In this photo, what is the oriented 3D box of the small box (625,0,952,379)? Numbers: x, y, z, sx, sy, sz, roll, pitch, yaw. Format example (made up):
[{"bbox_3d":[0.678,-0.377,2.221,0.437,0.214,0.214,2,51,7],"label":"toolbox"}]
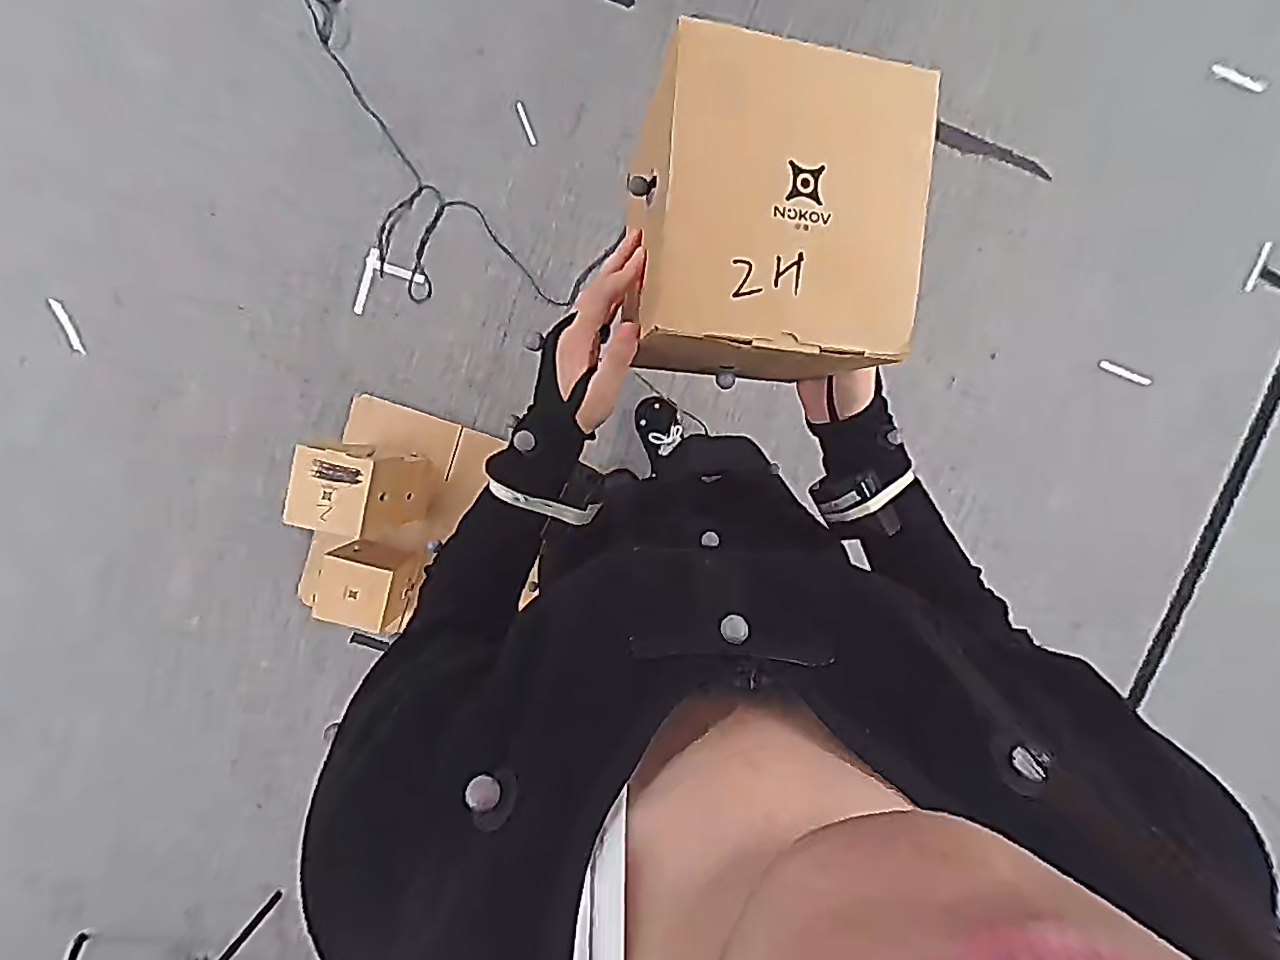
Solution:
[{"bbox_3d":[0.085,-0.177,0.390,0.168,0.176,0.179,4,94,-10],"label":"small box"}]

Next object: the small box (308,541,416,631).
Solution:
[{"bbox_3d":[-0.710,0.265,1.396,0.179,0.176,0.168,14,97,-4],"label":"small box"}]

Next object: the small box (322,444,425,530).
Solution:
[{"bbox_3d":[-0.666,0.010,1.373,0.168,0.176,0.179,15,95,-3],"label":"small box"}]
